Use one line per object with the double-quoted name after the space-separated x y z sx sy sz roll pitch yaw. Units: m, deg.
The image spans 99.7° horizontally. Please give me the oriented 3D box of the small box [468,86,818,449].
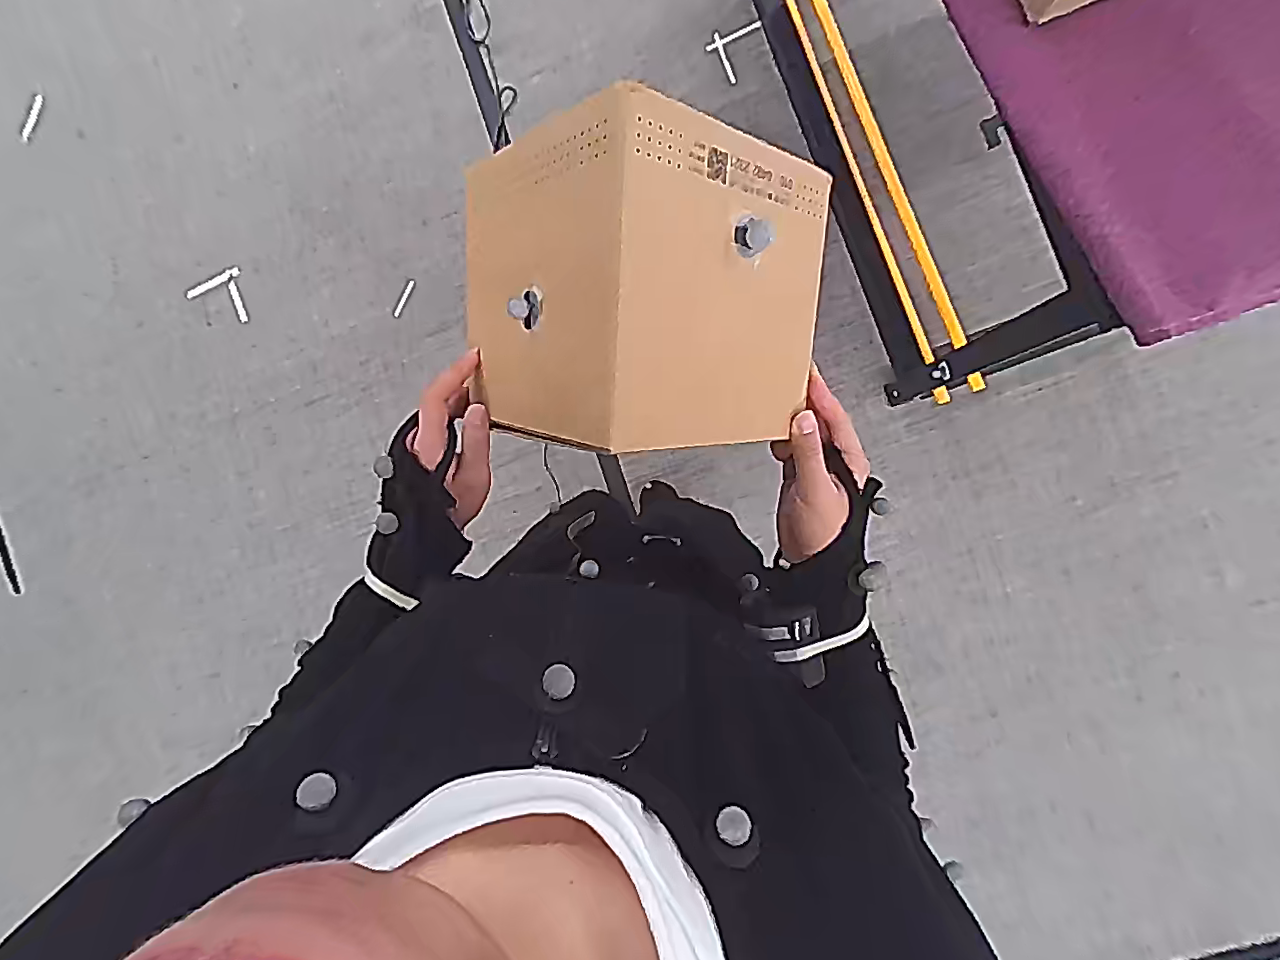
-0.003 -0.119 0.364 0.179 0.168 0.176 16 108 48 "small box"
